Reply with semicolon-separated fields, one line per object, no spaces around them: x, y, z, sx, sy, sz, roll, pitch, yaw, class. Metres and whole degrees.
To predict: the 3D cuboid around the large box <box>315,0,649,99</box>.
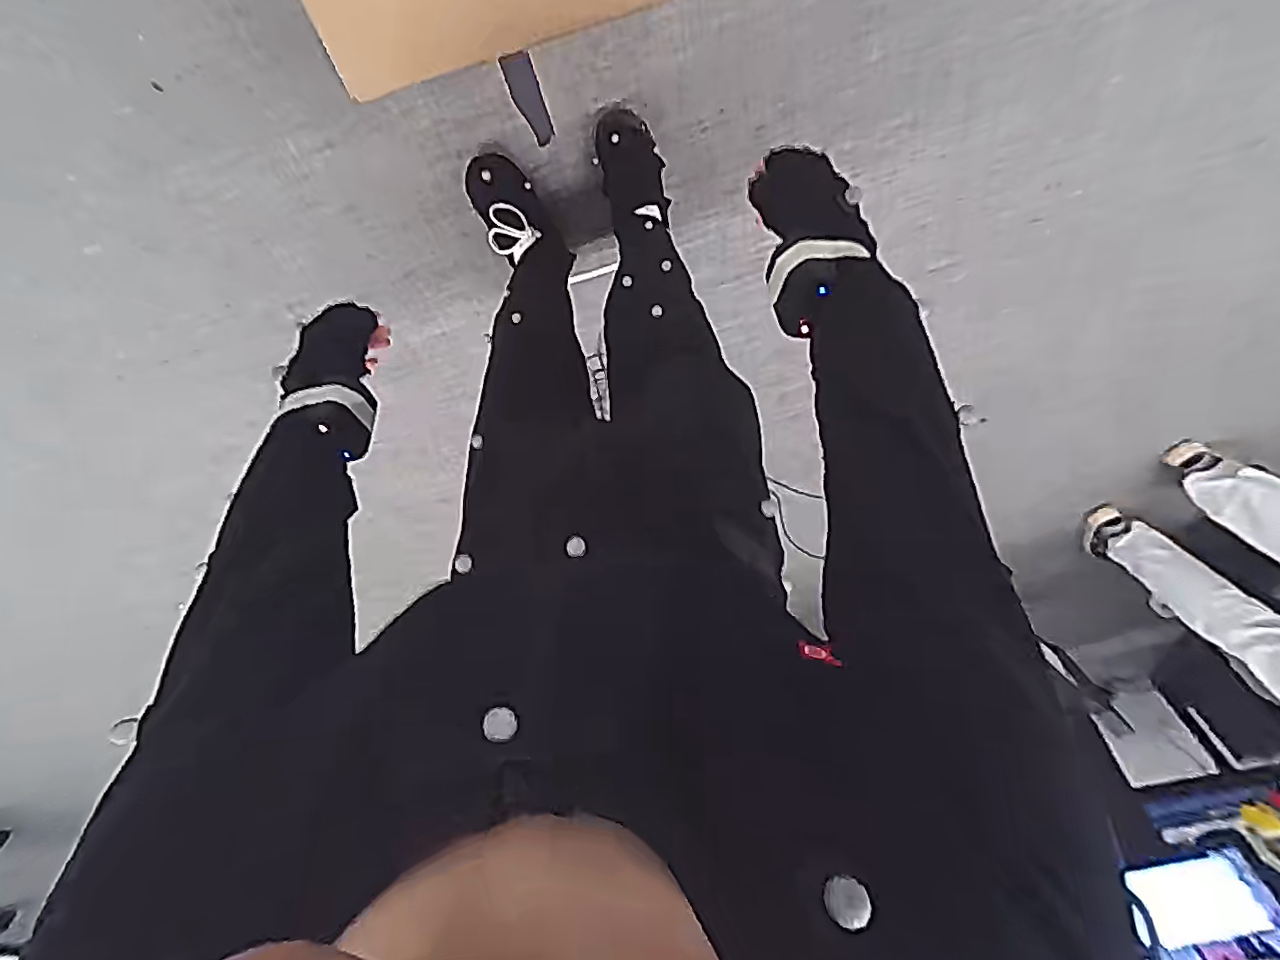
-0.198;-0.719;0.639;0.408;0.320;0.320;-14;136;6;large box
